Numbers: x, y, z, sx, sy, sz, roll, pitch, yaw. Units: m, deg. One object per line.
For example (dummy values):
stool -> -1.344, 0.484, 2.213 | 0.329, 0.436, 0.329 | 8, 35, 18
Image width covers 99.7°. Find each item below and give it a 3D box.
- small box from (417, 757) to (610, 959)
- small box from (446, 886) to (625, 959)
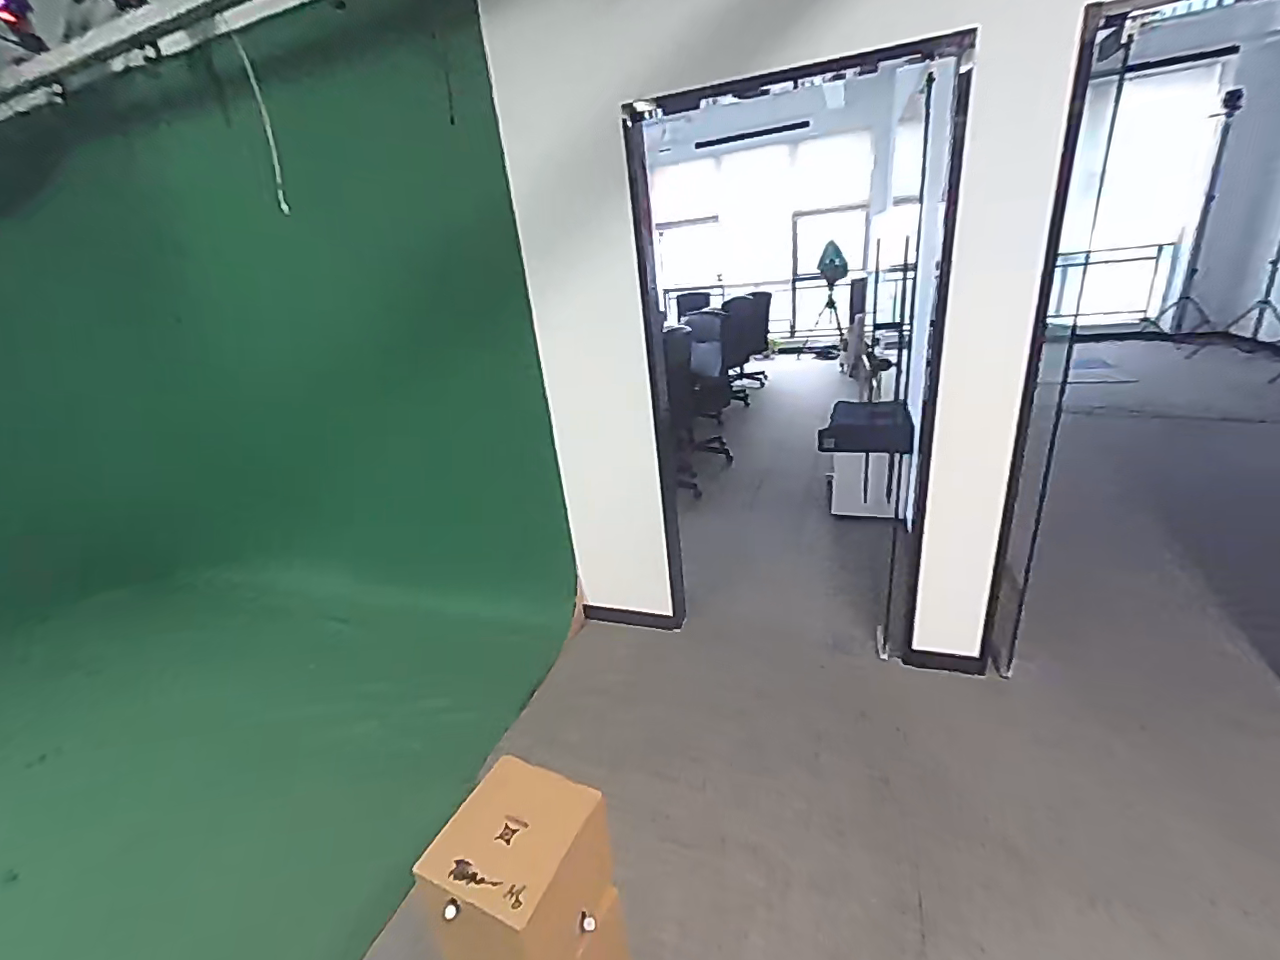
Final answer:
small box -> -0.149, 0.509, 0.698 | 0.168, 0.176, 0.179 | 5, 23, 27
small box -> -0.133, 0.664, 0.750 | 0.168, 0.176, 0.179 | 9, 25, 33
